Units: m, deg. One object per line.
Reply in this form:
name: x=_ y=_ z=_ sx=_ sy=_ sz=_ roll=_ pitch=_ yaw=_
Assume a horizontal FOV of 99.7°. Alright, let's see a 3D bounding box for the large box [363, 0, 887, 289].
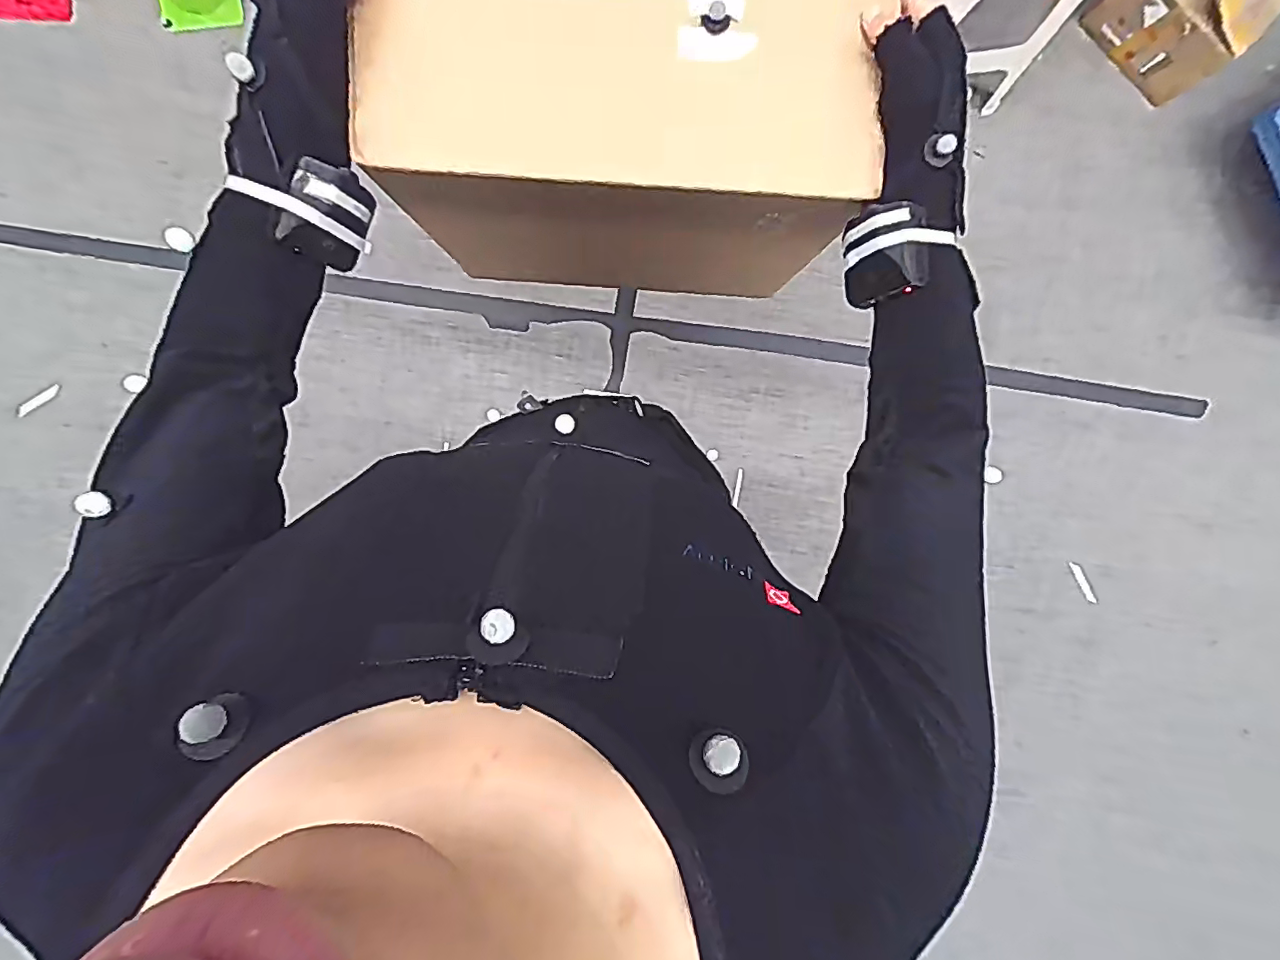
large box: x=-0.013 y=-0.401 z=0.556 sx=0.408 sy=0.320 sz=0.320 roll=3 pitch=95 yaw=-2
